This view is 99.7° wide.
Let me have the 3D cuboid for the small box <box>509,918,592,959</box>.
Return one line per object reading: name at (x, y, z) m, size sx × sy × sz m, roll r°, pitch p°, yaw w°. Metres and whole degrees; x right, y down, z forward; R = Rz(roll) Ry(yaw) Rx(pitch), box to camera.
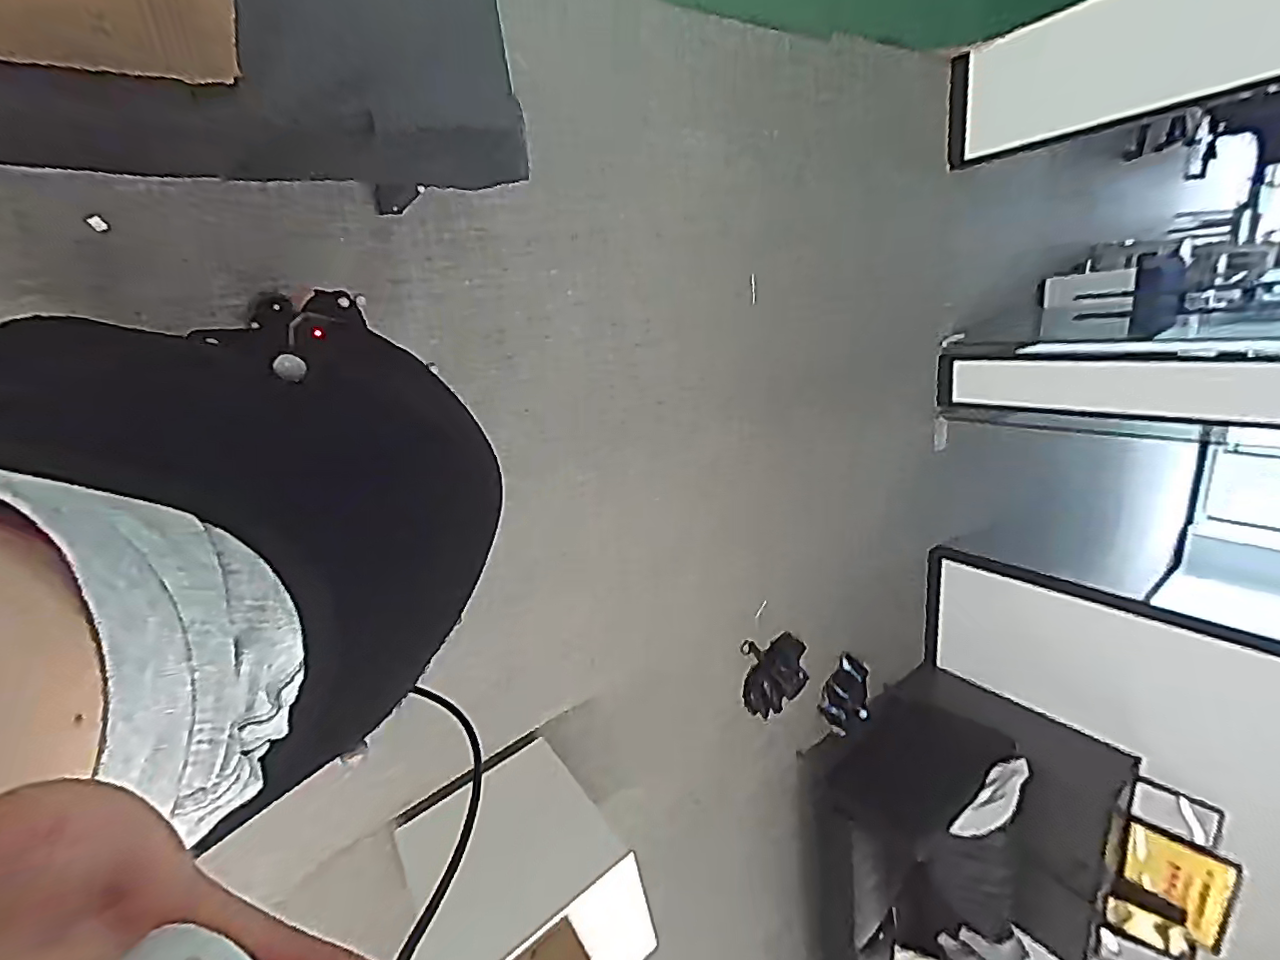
small box at (-0.193, 1.188, 1.266) m, size 0.168 × 0.176 × 0.179 m, roll -24°, pitch 116°, yaw -29°
